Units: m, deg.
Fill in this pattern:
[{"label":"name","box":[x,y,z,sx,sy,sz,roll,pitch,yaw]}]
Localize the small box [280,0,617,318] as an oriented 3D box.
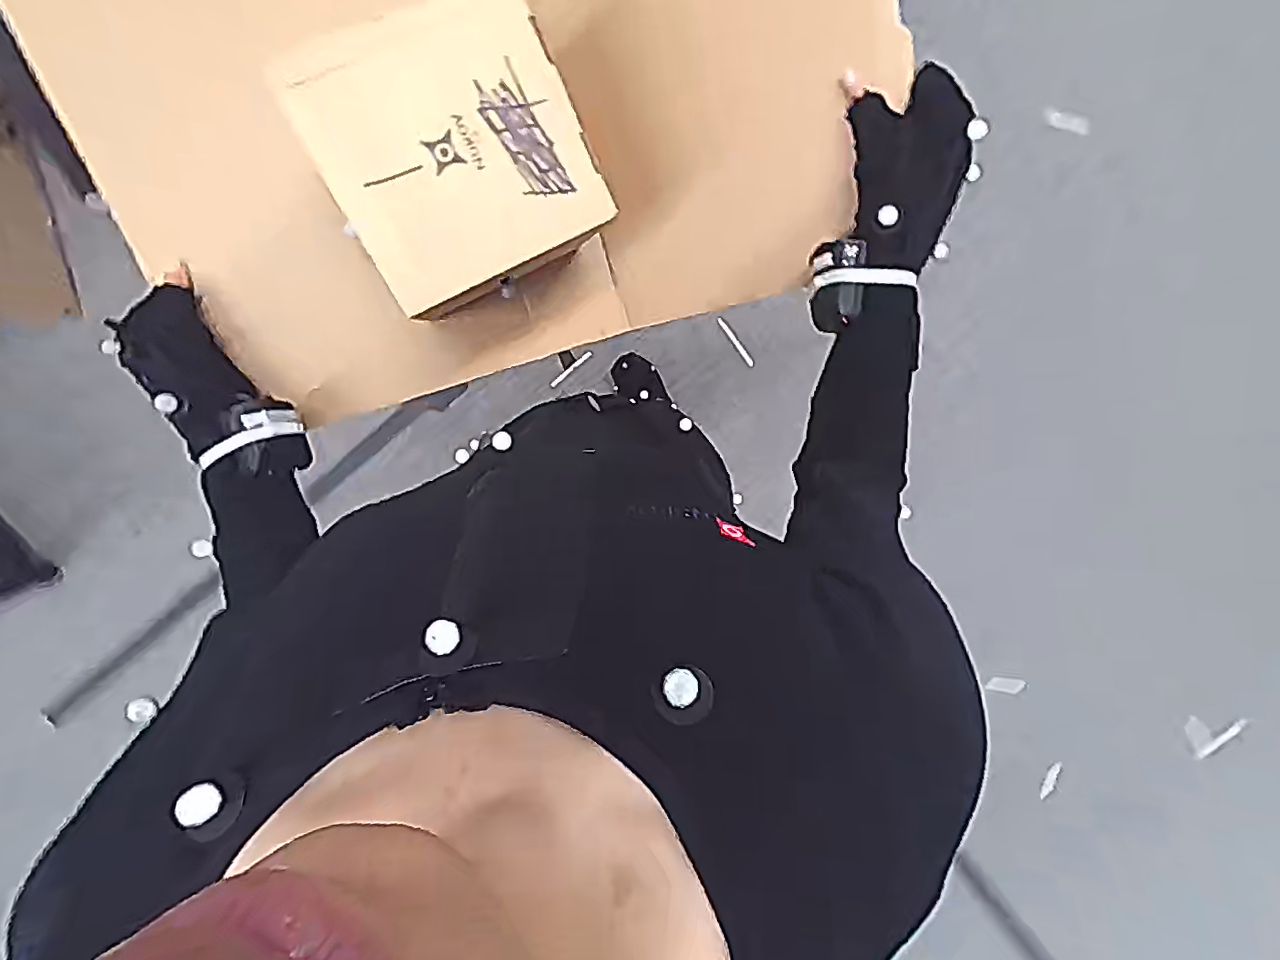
[{"label":"small box","box":[-0.145,-0.249,0.454,0.179,0.176,0.168,-29,111,-7]}]
